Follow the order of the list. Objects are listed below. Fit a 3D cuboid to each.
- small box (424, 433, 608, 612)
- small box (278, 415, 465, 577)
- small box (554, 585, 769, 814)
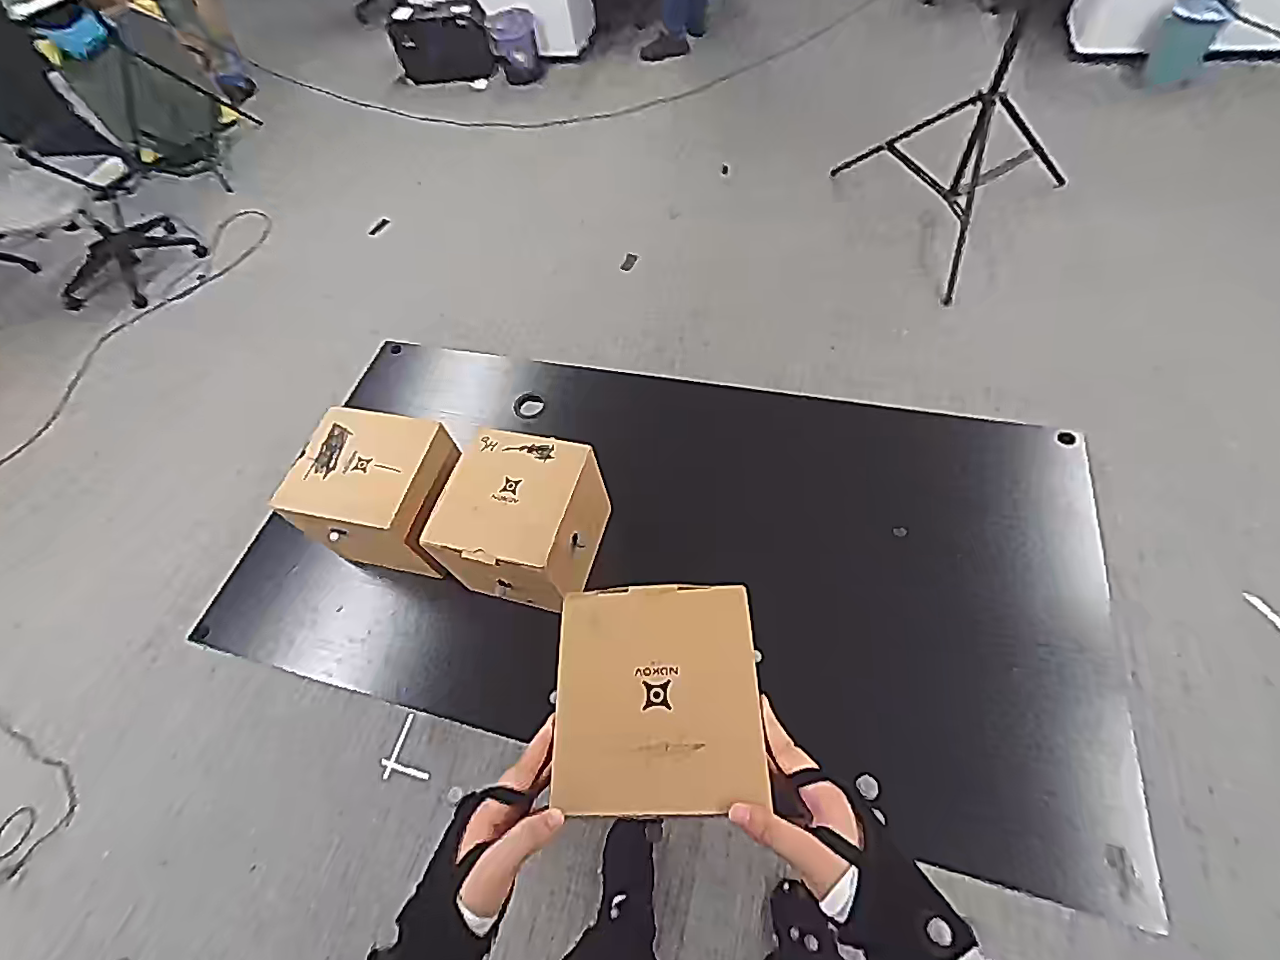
[{"bbox_3d":[-0.152,0.064,0.739,0.168,0.176,0.179,10,61,13],"label":"small box"},{"bbox_3d":[-0.359,0.028,0.786,0.179,0.176,0.168,8,60,11],"label":"small box"},{"bbox_3d":[0.022,0.214,0.516,0.168,0.176,0.179,-4,58,4],"label":"small box"}]
